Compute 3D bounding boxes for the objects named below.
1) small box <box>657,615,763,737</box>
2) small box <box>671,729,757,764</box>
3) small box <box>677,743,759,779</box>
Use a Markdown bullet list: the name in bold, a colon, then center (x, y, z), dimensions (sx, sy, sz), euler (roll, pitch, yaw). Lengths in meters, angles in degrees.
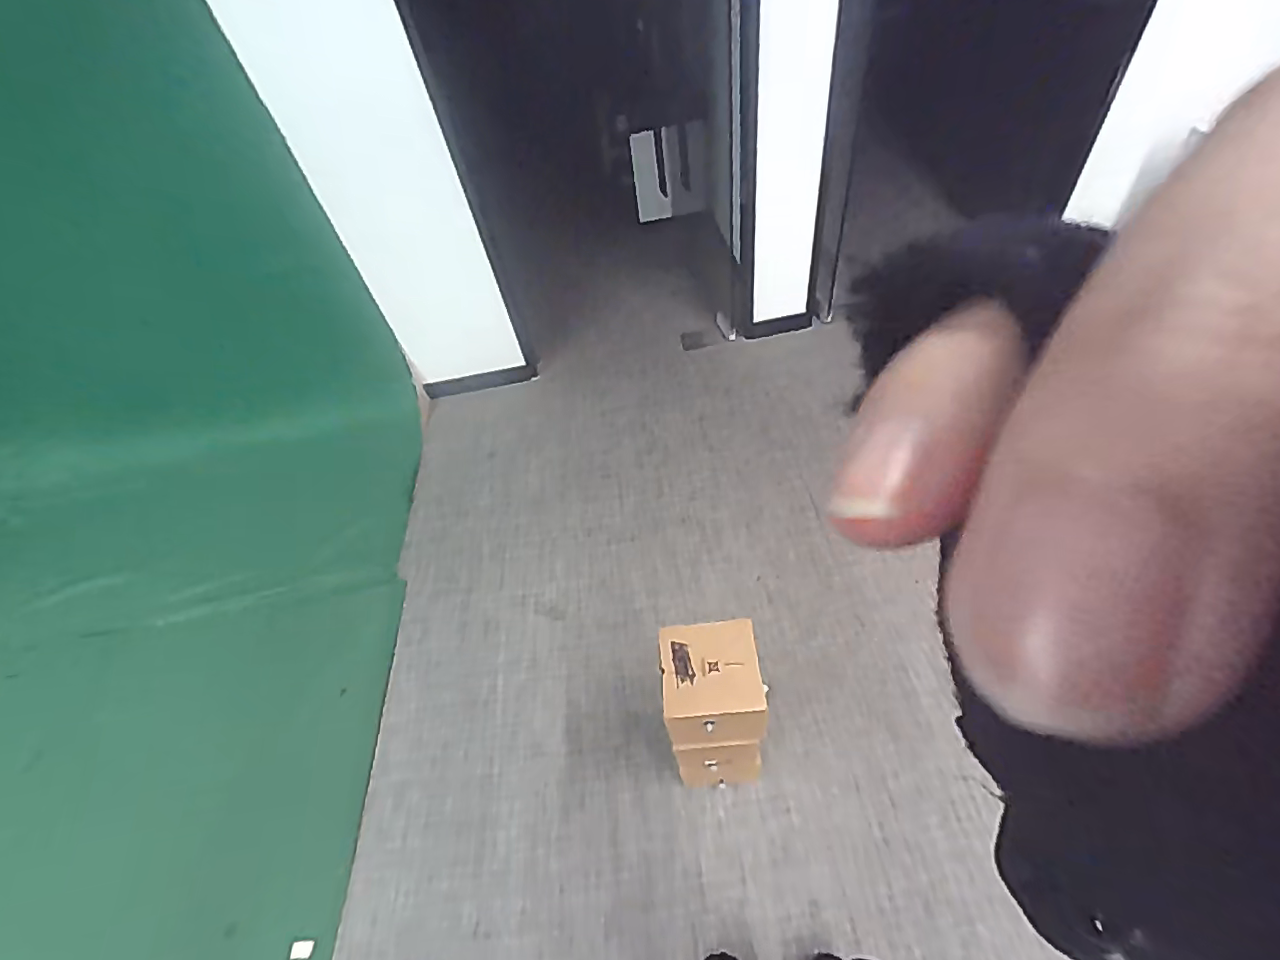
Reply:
- **small box**: center (0.133, 0.374, 1.022), dimensions (0.179, 0.176, 0.168), euler (-7, 49, 5)
- **small box**: center (0.150, 0.481, 1.146), dimensions (0.168, 0.176, 0.179), euler (-9, 50, 5)
- **small box**: center (0.174, 0.590, 1.264), dimensions (0.179, 0.176, 0.168), euler (-6, 49, 5)
